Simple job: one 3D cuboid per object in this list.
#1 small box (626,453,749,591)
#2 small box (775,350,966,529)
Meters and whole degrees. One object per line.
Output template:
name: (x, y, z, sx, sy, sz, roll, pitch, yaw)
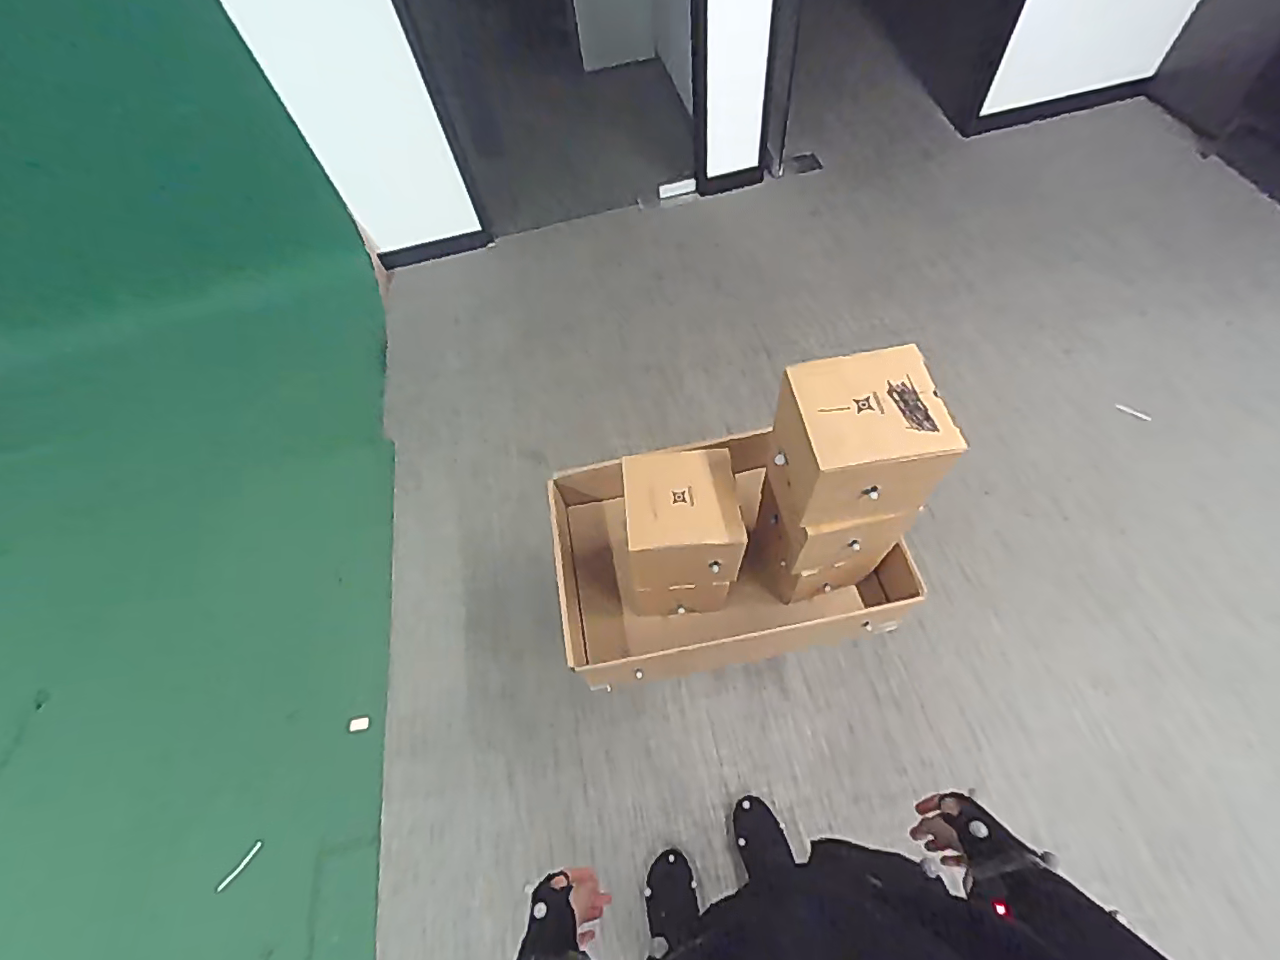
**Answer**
small box: (0.071, 0.073, 0.885, 0.179, 0.176, 0.168, -5, 58, 1)
small box: (0.295, -0.048, 0.737, 0.179, 0.176, 0.168, -9, 60, 3)
